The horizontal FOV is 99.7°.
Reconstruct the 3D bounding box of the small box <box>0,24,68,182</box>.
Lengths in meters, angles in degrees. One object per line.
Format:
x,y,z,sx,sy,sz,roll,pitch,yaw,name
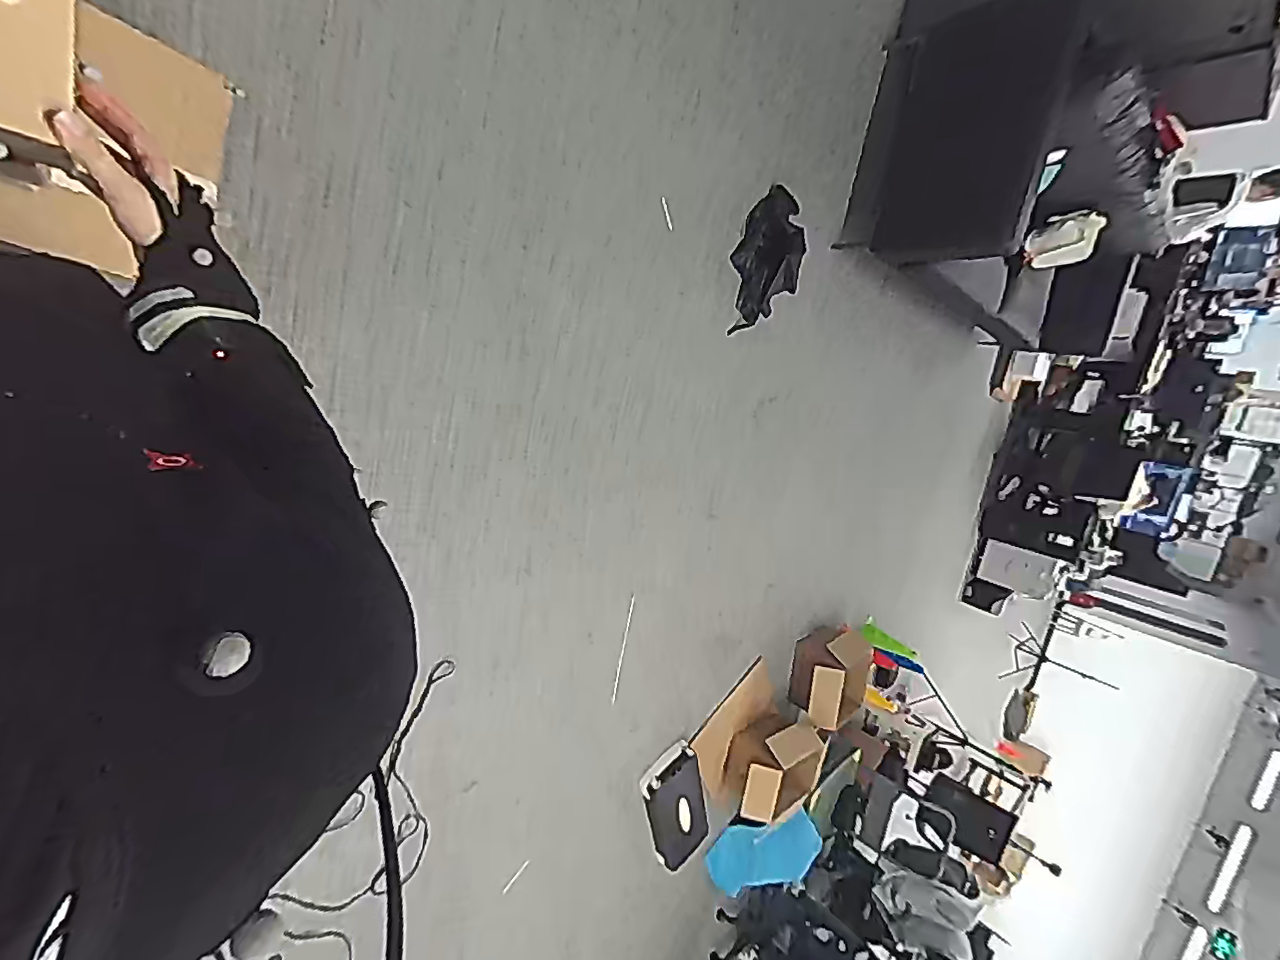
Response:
-0.728,-0.431,0.545,0.179,0.176,0.168,19,91,-47,small box

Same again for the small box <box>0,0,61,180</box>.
-0.609,-0.377,0.447,0.168,0.176,0.179,7,100,-47,small box

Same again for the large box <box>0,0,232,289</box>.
-0.861,-0.486,0.745,0.408,0.320,0.320,10,99,-47,large box
